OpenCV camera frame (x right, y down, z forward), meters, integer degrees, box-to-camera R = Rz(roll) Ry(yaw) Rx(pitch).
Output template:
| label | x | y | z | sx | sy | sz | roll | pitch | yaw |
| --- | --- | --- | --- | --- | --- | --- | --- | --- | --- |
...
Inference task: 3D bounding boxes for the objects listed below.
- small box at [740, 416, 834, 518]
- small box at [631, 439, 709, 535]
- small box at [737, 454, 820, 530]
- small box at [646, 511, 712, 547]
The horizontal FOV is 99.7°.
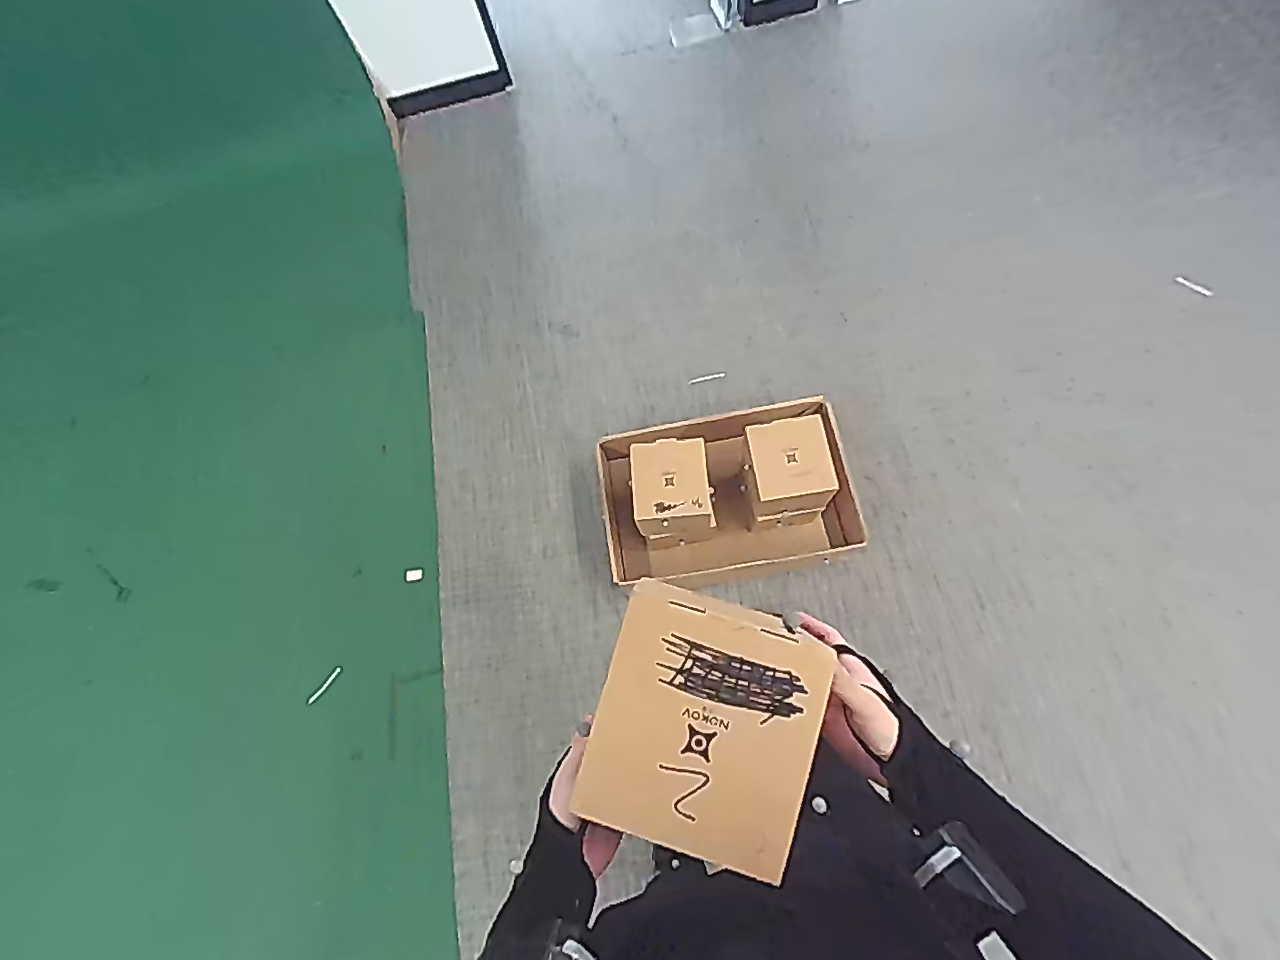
| label | x | y | z | sx | sy | sz | roll | pitch | yaw |
| --- | --- | --- | --- | --- | --- | --- | --- | --- | --- |
| small box | 0.328 | -0.026 | 1.242 | 0.168 | 0.176 | 0.179 | -9 | 72 | 5 |
| small box | 0.069 | 0.021 | 1.252 | 0.168 | 0.176 | 0.179 | -5 | 71 | 5 |
| small box | 0.349 | 0.026 | 1.396 | 0.168 | 0.176 | 0.179 | -11 | 72 | 3 |
| small box | 0.090 | 0.071 | 1.408 | 0.168 | 0.176 | 0.179 | -11 | 72 | 1 |
